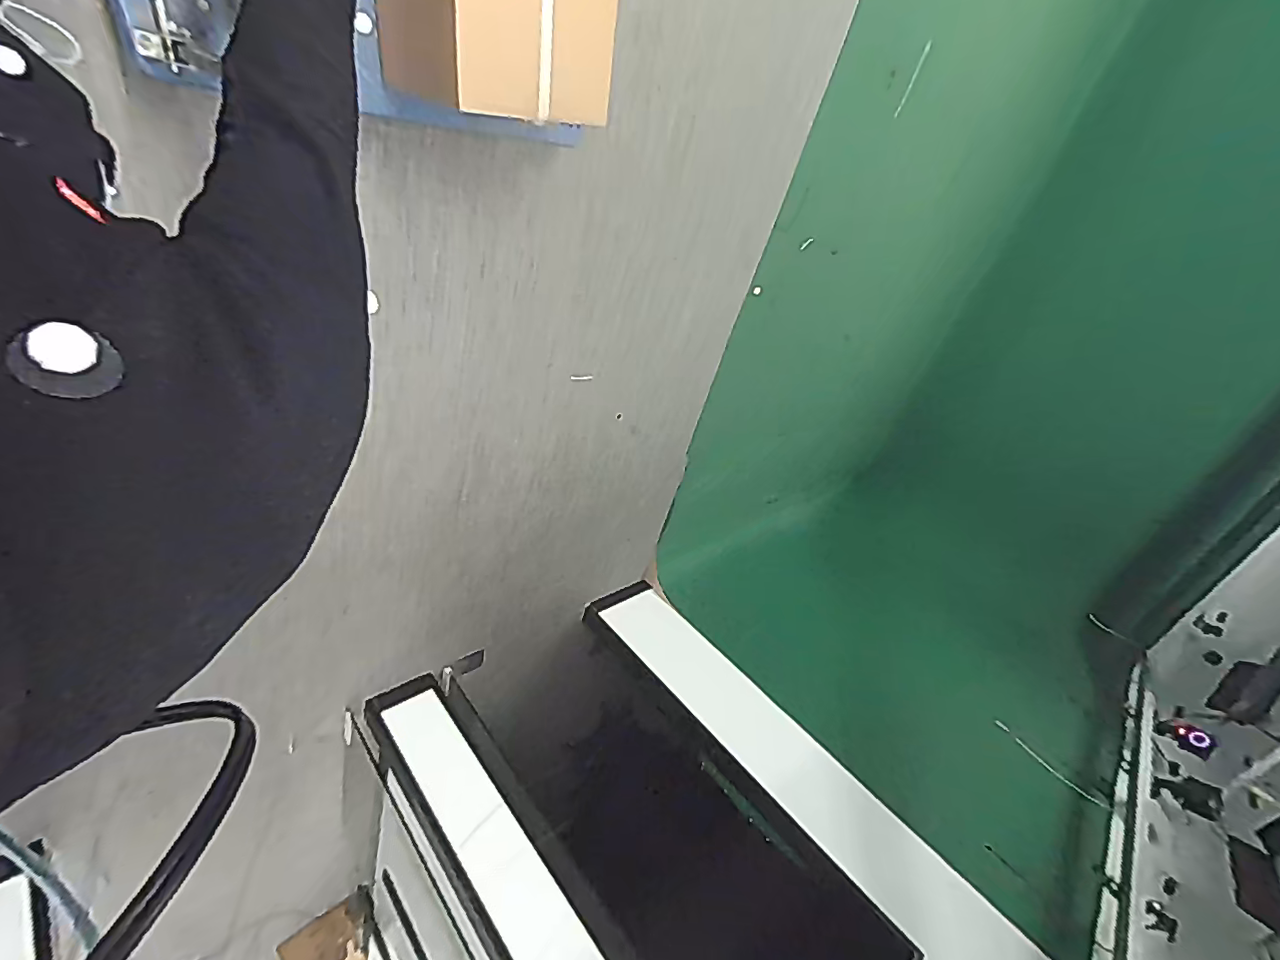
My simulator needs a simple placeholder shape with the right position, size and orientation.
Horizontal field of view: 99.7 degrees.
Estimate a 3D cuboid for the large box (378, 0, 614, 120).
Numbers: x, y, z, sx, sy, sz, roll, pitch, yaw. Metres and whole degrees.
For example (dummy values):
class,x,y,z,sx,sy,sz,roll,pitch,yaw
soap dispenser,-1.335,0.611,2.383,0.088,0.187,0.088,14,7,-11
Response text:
class,x,y,z,sx,sy,sz,roll,pitch,yaw
large box,-0.253,-0.887,0.931,0.320,0.320,0.408,-24,138,-37
